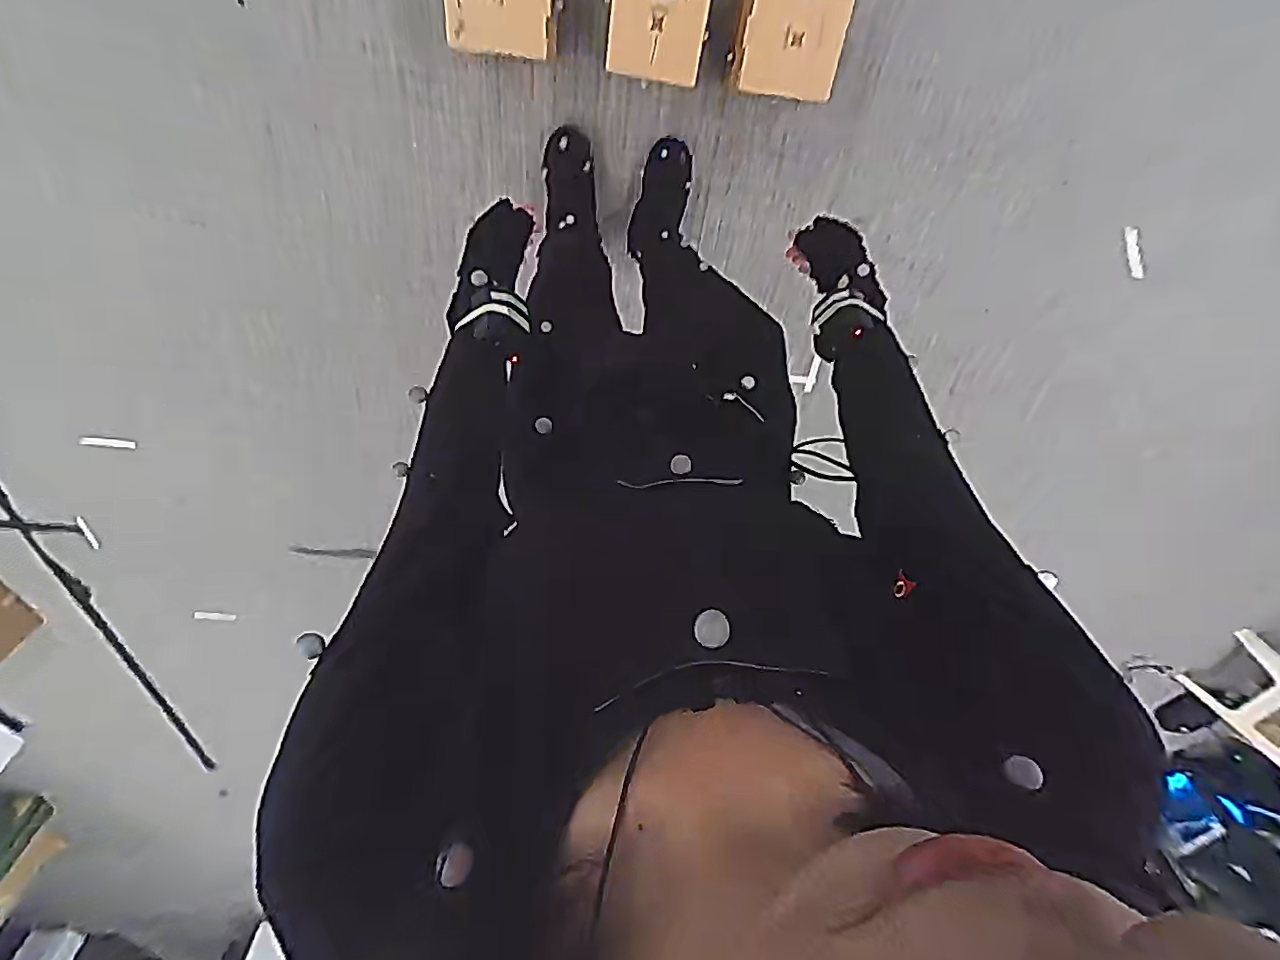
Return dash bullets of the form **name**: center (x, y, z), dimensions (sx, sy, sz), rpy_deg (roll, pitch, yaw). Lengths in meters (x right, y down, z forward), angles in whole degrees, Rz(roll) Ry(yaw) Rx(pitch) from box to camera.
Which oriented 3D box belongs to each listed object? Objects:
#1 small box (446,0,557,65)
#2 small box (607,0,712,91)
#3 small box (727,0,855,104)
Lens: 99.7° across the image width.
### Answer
- **small box**: center (-0.240, -0.858, 0.964), dimensions (0.179, 0.176, 0.168), rpy_deg (4, 128, -5)
- **small box**: center (0.032, -0.836, 0.987), dimensions (0.168, 0.176, 0.179), rpy_deg (7, 128, -6)
- **small box**: center (0.269, -0.818, 1.010), dimensions (0.179, 0.176, 0.168), rpy_deg (4, 129, -6)
